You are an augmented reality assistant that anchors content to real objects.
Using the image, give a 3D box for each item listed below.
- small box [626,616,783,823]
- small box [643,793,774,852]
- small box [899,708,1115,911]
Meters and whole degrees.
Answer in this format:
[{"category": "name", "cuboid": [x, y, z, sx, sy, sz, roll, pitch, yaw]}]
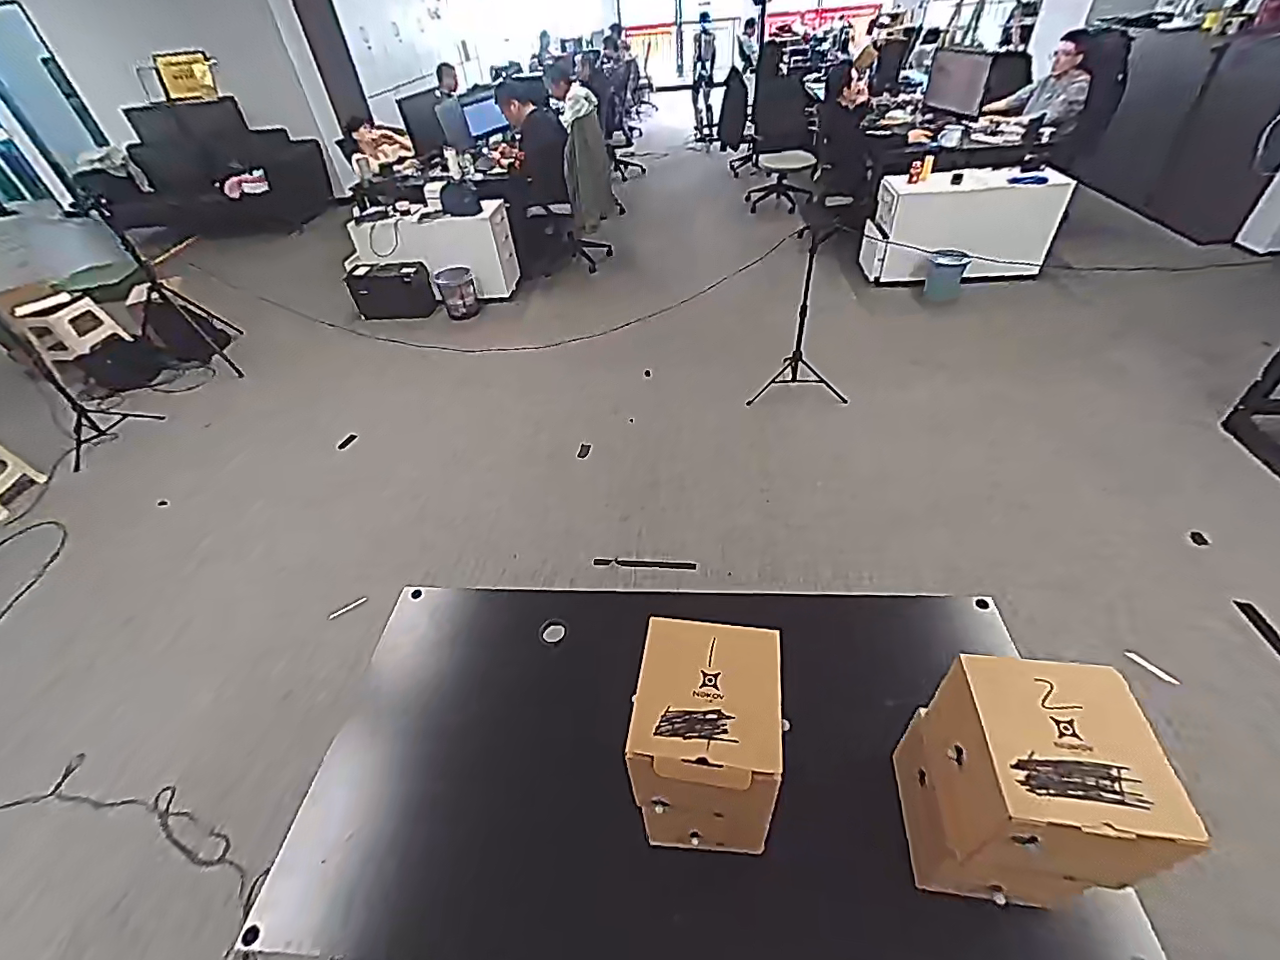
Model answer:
[{"category": "small box", "cuboid": [0.086, 0.297, 0.671, 0.168, 0.176, 0.179, 4, 43, 10]}, {"category": "small box", "cuboid": [0.097, 0.412, 0.787, 0.168, 0.176, 0.179, 0, 43, 7]}, {"category": "small box", "cuboid": [0.460, 0.433, 0.717, 0.168, 0.176, 0.179, 2, 43, 11]}]
